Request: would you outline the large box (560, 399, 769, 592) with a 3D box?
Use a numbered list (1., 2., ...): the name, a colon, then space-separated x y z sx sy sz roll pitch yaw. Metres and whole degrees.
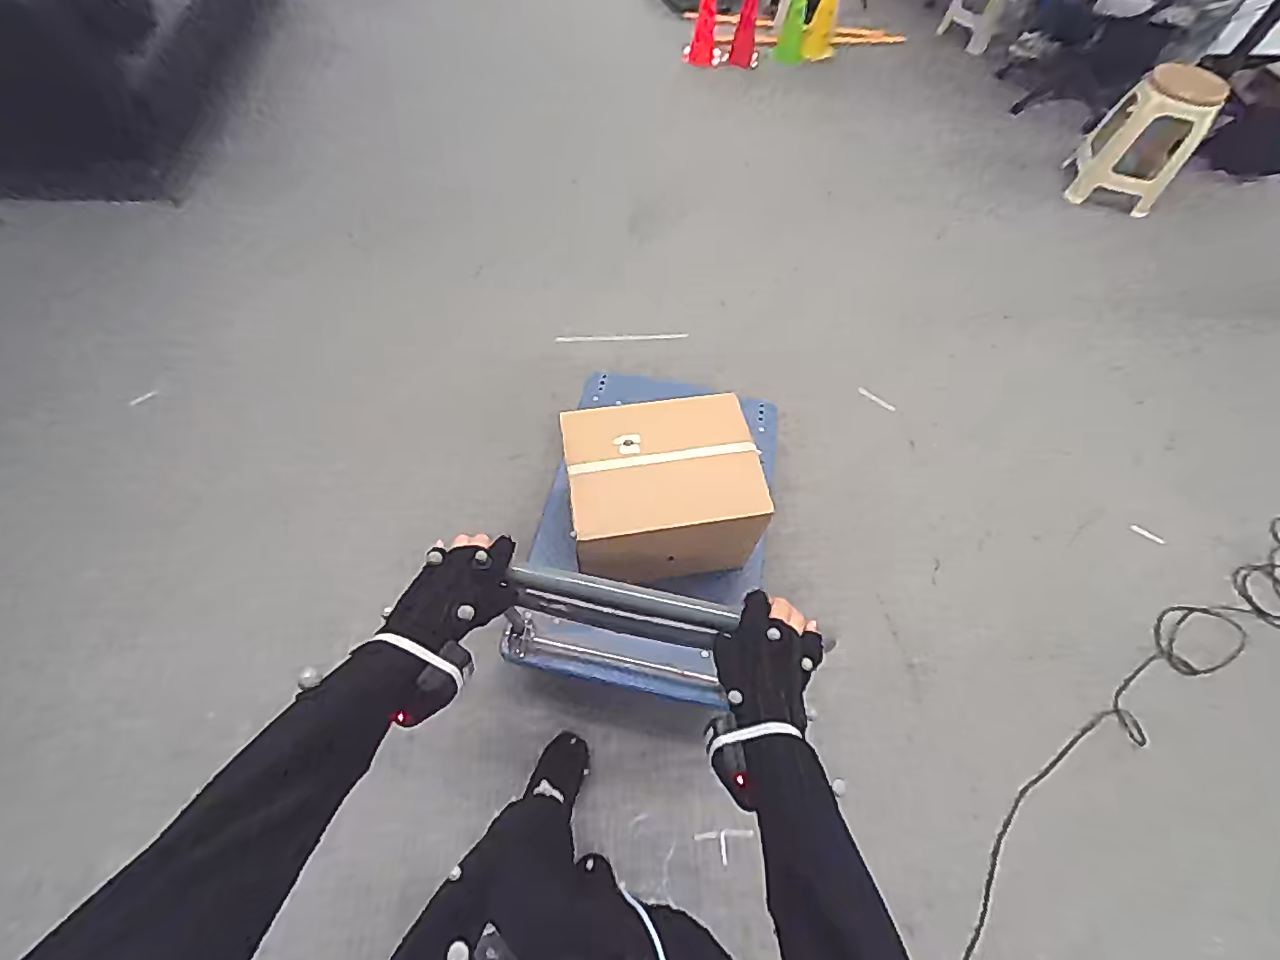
1. large box: 0.042 0.046 1.282 0.408 0.320 0.320 -9 61 -6
